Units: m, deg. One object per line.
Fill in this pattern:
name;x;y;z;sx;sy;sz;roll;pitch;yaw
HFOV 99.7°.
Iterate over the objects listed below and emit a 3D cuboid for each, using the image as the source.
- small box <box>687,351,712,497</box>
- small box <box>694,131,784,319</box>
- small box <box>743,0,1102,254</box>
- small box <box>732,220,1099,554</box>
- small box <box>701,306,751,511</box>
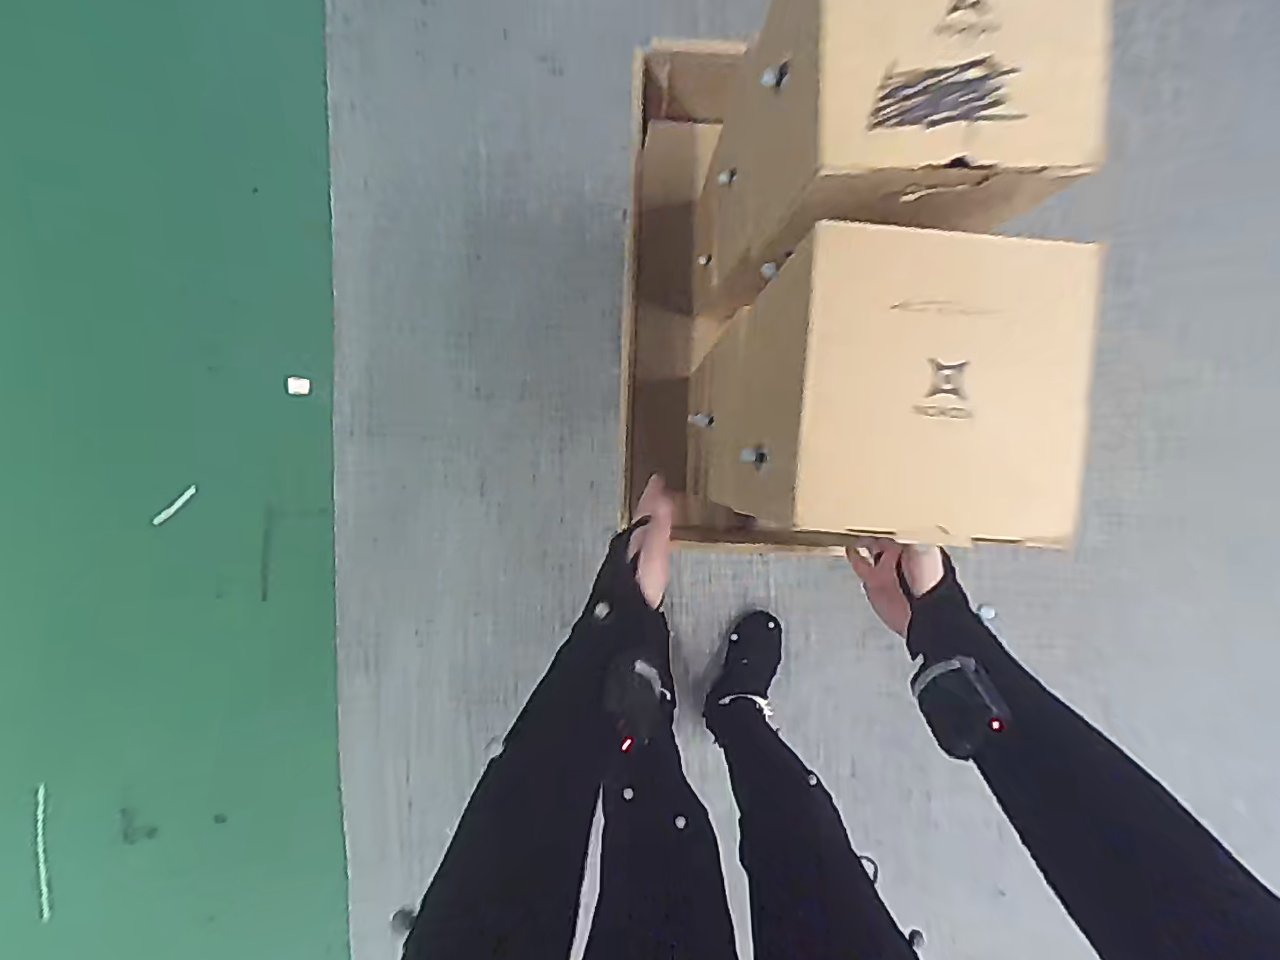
small box;0.153;-0.063;0.706;0.168;0.176;0.179;3;90;-1
small box;0.163;-0.316;0.705;0.168;0.176;0.179;1;95;-2
small box;0.171;-0.268;0.379;0.168;0.176;0.179;-1;94;-1
small box;0.164;-0.052;0.380;0.168;0.176;0.179;4;91;-2
small box;0.155;-0.060;0.543;0.168;0.176;0.179;3;91;-2
